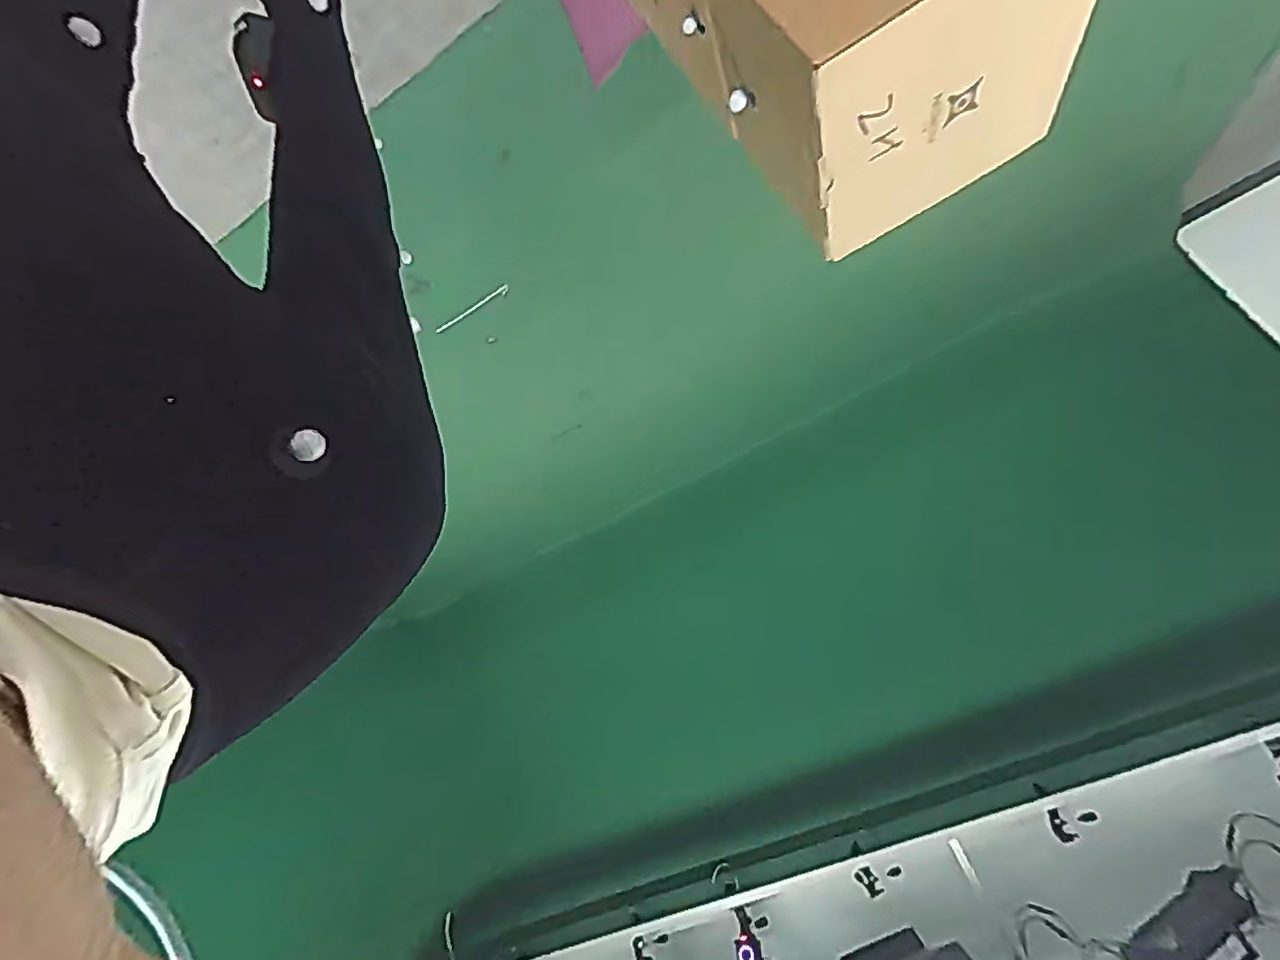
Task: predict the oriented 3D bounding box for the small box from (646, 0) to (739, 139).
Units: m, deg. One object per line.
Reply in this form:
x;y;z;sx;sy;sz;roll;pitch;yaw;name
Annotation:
0.101;-0.442;0.442;0.179;0.176;0.168;-29;155;10;small box

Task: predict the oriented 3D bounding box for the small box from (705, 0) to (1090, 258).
0.164;-0.306;0.375;0.179;0.176;0.168;-28;155;11;small box
